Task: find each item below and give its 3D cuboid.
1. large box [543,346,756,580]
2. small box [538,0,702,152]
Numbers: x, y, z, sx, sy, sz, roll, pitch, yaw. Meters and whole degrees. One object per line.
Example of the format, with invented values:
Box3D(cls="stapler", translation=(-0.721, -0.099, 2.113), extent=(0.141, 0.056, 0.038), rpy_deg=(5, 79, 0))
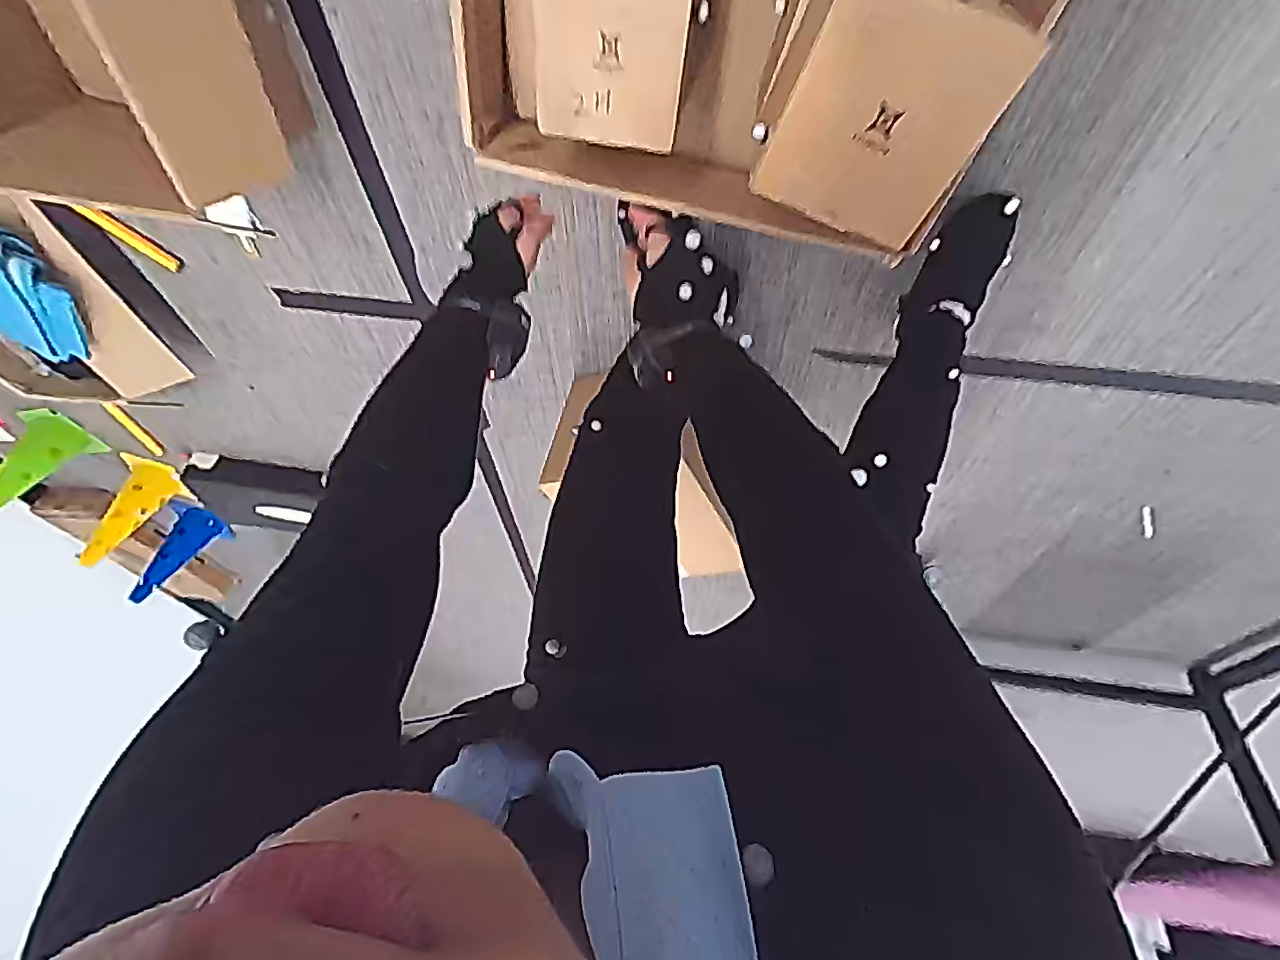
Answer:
Box3D(cls="large box", translation=(0.050, -0.020, 1.212), extent=(0.320, 0.320, 0.408), rpy_deg=(-11, 138, 27))
Box3D(cls="small box", translation=(-0.019, -0.521, 0.632), extent=(0.168, 0.176, 0.179), rpy_deg=(10, 141, 0))
